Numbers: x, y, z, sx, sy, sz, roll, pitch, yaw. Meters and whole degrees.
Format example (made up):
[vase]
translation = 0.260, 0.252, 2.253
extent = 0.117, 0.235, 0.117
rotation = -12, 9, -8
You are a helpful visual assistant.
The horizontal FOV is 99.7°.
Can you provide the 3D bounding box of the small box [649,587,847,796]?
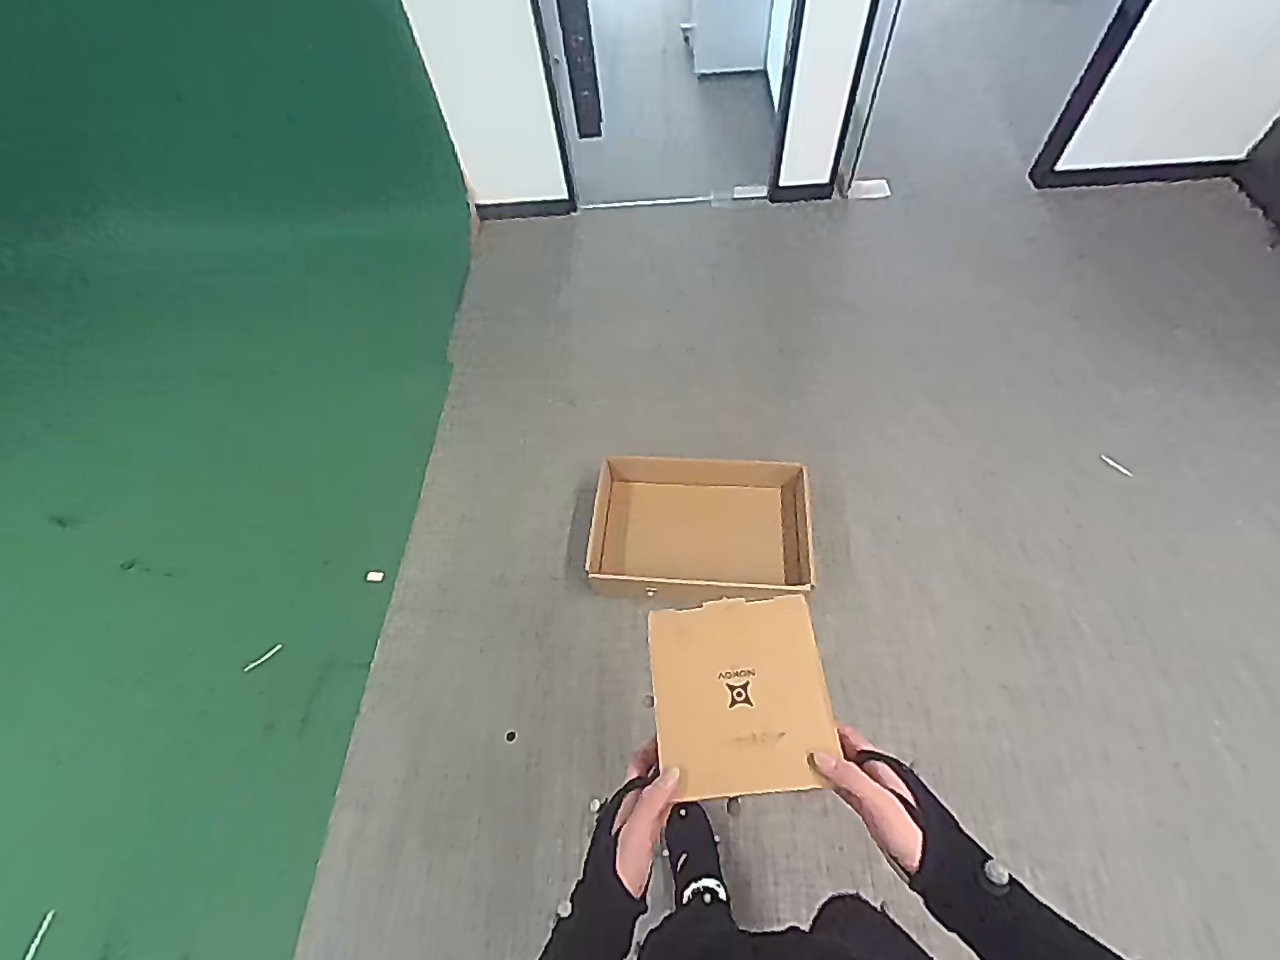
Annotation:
[small box]
translation = 0.102, 0.232, 0.581
extent = 0.168, 0.176, 0.179
rotation = -7, 59, 4
